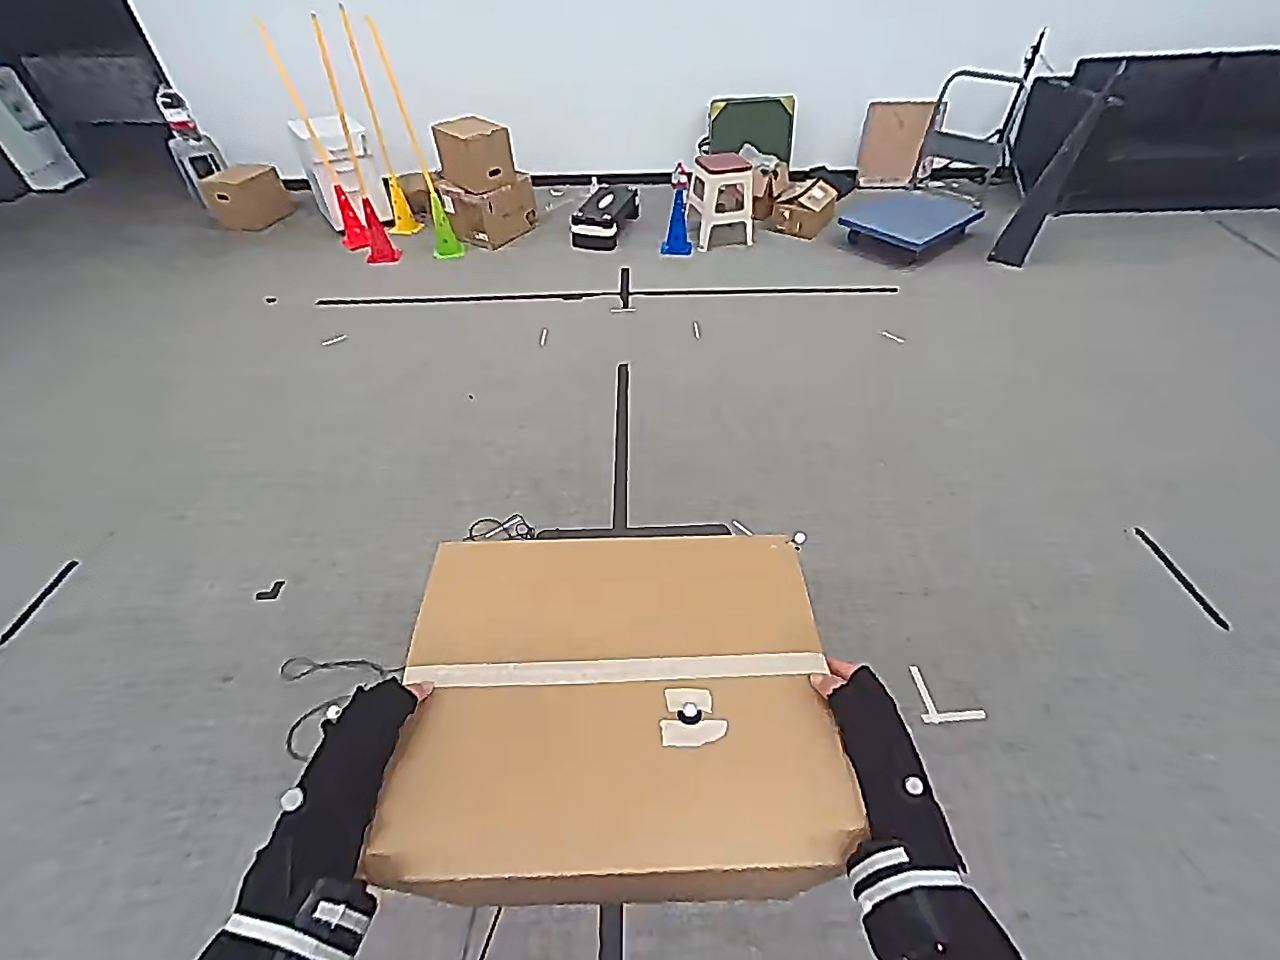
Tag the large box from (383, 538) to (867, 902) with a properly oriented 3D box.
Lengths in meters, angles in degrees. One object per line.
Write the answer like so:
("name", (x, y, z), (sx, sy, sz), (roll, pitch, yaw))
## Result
("large box", (-0.017, 0.287, 0.644), (0.408, 0.320, 0.320), (-1, 49, -1))
